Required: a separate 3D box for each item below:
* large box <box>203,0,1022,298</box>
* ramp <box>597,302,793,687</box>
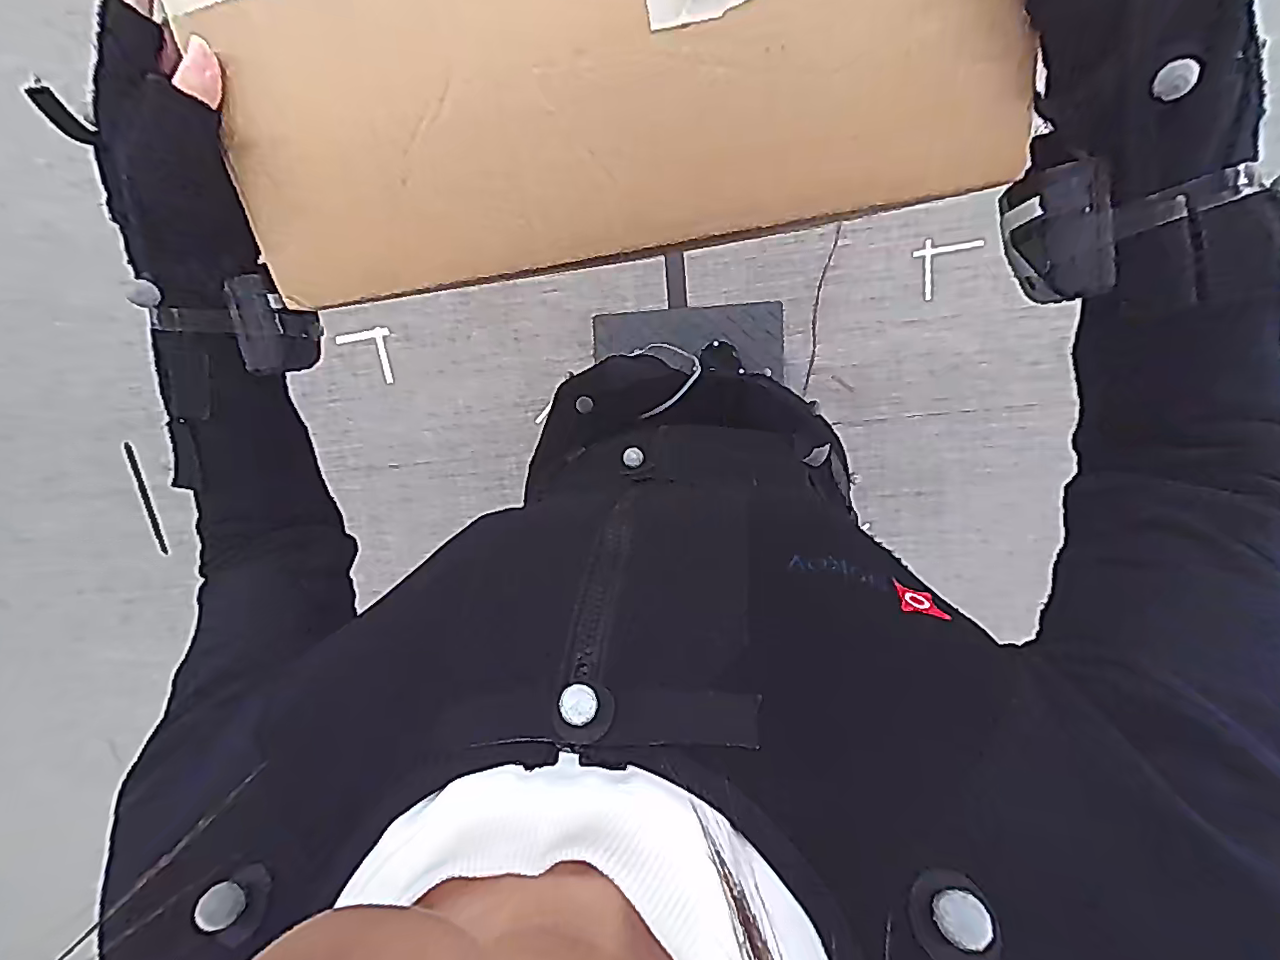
[{"bbox_3d":[-0.019,-0.333,0.382,0.408,0.320,0.320,-6,113,11],"label":"large box"},{"bbox_3d":[0.140,0.053,1.432,0.509,0.206,0.991,-3,103,11],"label":"ramp"}]
